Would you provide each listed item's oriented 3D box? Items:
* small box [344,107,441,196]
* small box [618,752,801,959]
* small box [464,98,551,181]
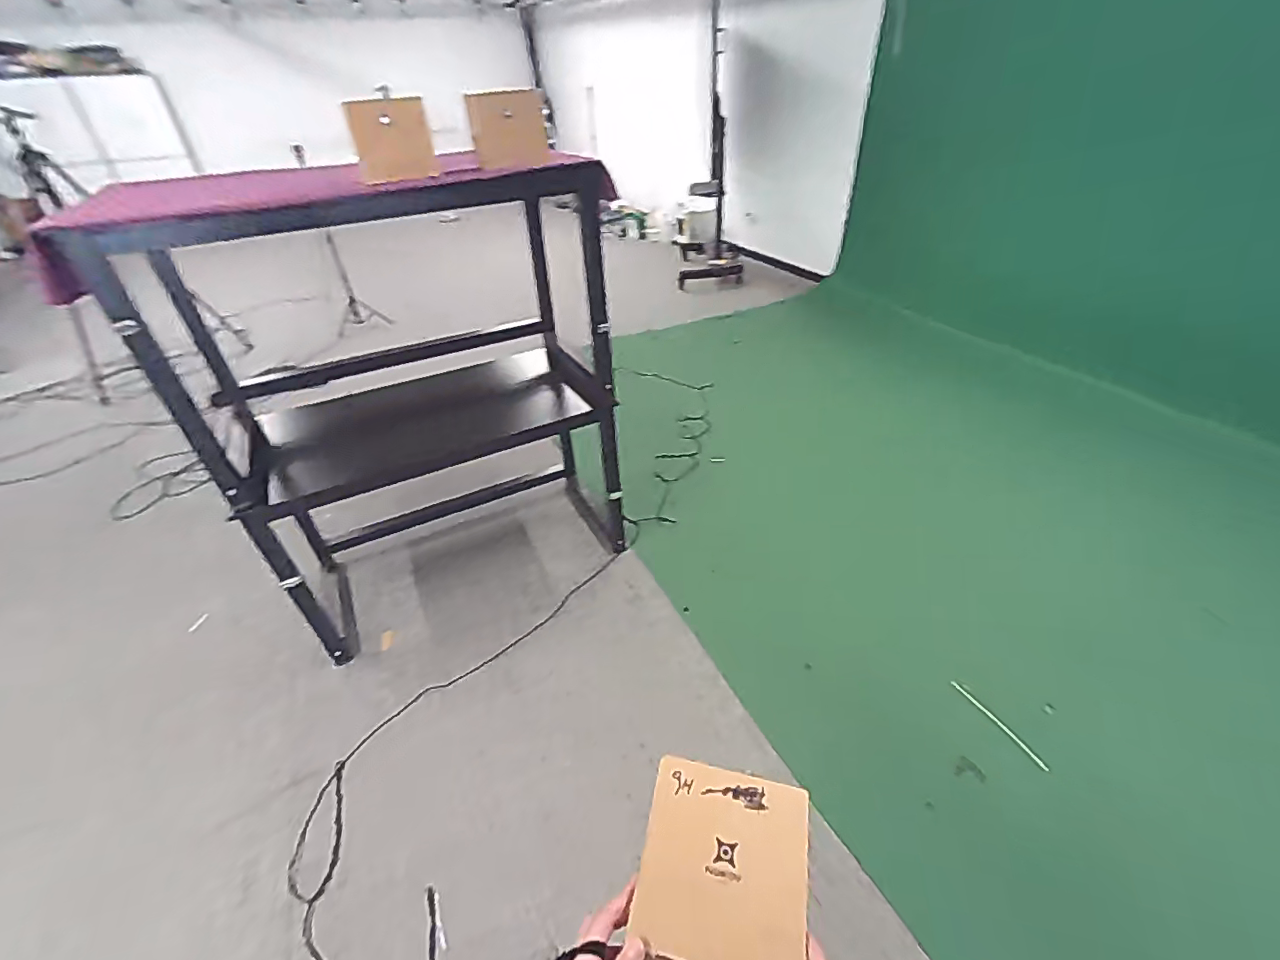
[{"bbox_3d":[-0.607,-0.816,1.338,0.179,0.176,0.168,-20,38,-19],"label":"small box"},{"bbox_3d":[0.079,0.438,0.601,0.168,0.176,0.179,9,46,9],"label":"small box"},{"bbox_3d":[-0.349,-0.902,1.432,0.179,0.176,0.168,-17,40,-17],"label":"small box"}]
